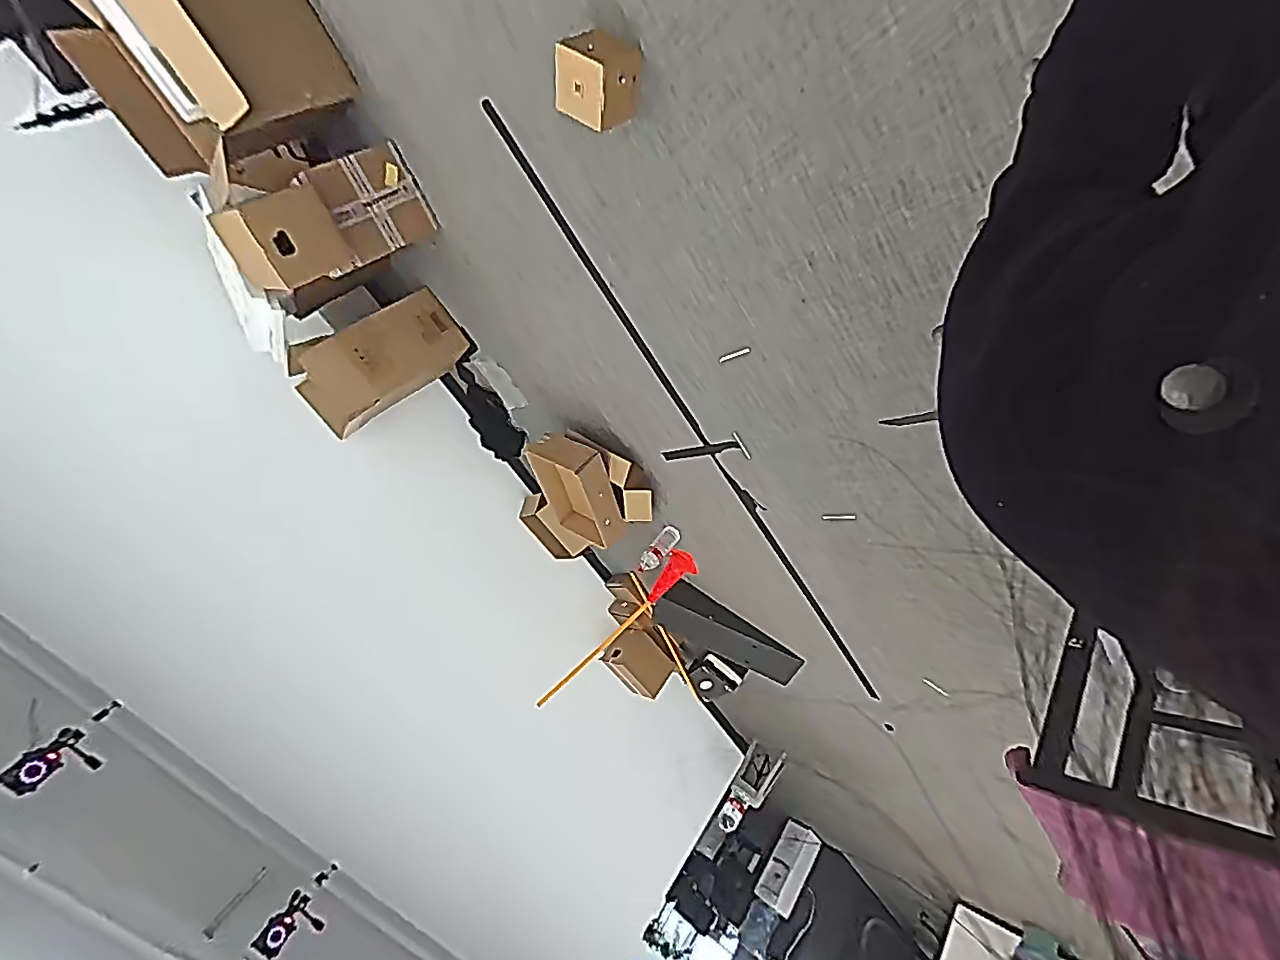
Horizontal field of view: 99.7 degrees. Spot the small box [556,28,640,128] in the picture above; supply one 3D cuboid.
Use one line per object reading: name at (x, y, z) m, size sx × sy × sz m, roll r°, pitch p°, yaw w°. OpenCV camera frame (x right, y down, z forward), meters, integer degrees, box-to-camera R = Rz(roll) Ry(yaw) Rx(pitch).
small box at (-0.119, -1.143, 1.532) m, size 0.179 × 0.176 × 0.168 m, roll 37°, pitch 149°, yaw 15°
